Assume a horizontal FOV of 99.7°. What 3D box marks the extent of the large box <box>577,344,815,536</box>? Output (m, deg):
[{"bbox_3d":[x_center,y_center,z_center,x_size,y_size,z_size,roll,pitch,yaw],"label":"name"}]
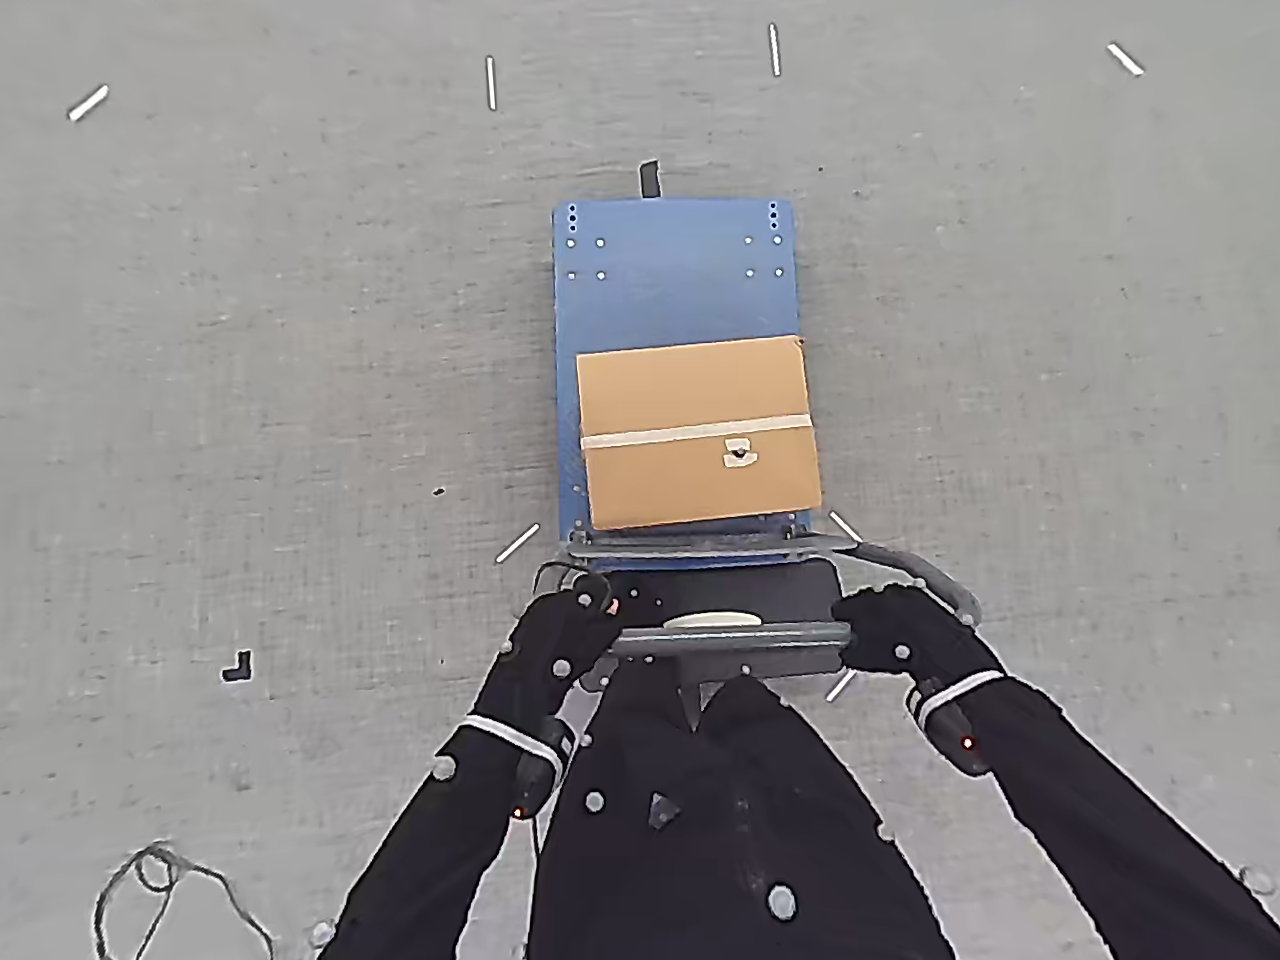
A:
[{"bbox_3d":[0.093,-0.063,1.117,0.408,0.320,0.320,-6,86,-3],"label":"large box"}]
